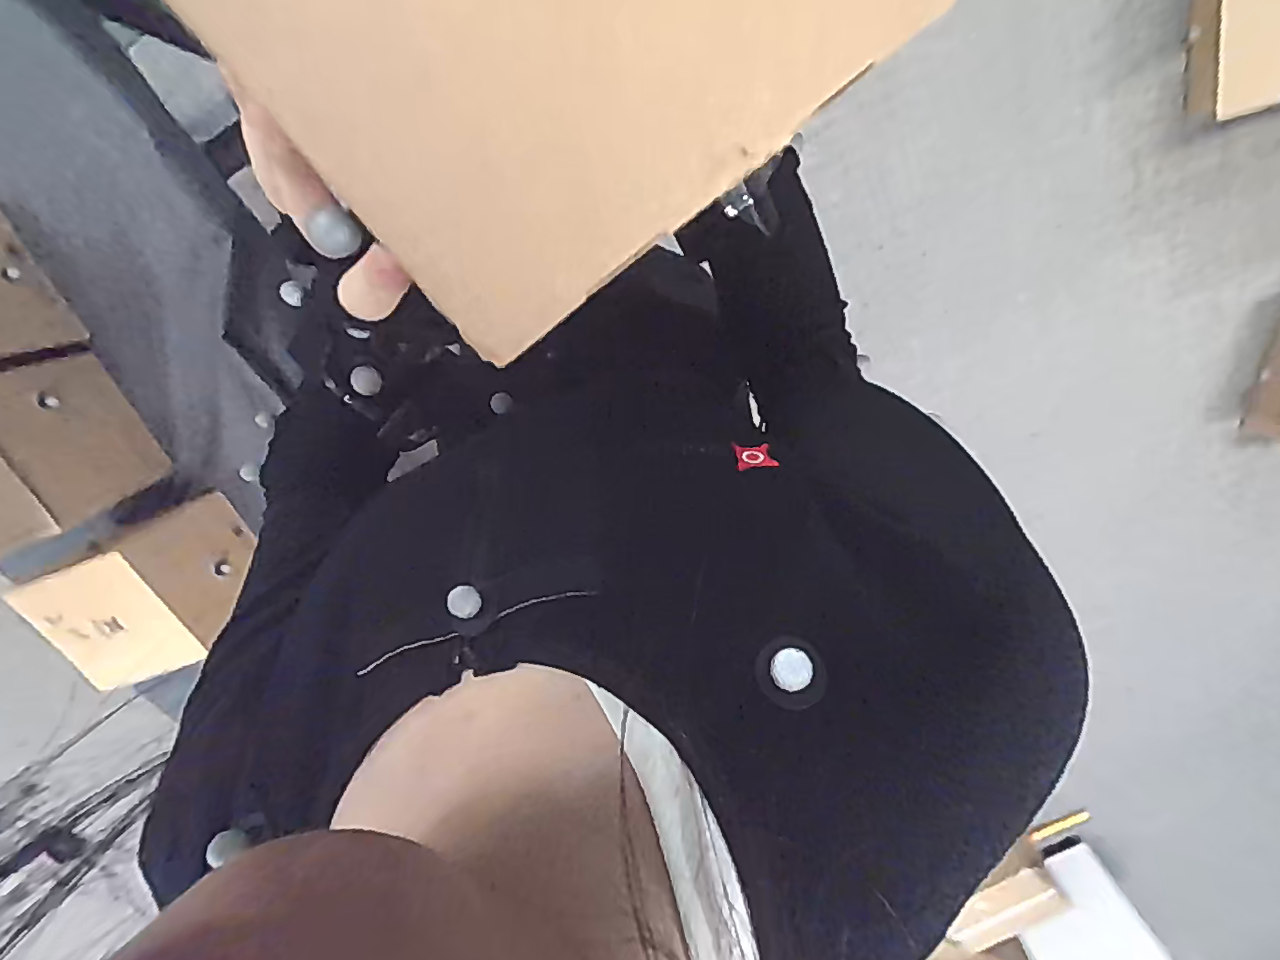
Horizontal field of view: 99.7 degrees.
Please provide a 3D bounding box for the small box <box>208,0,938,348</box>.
[{"bbox_3d":[-0.047,-0.176,0.135,0.168,0.176,0.179,-38,146,0],"label":"small box"}]
